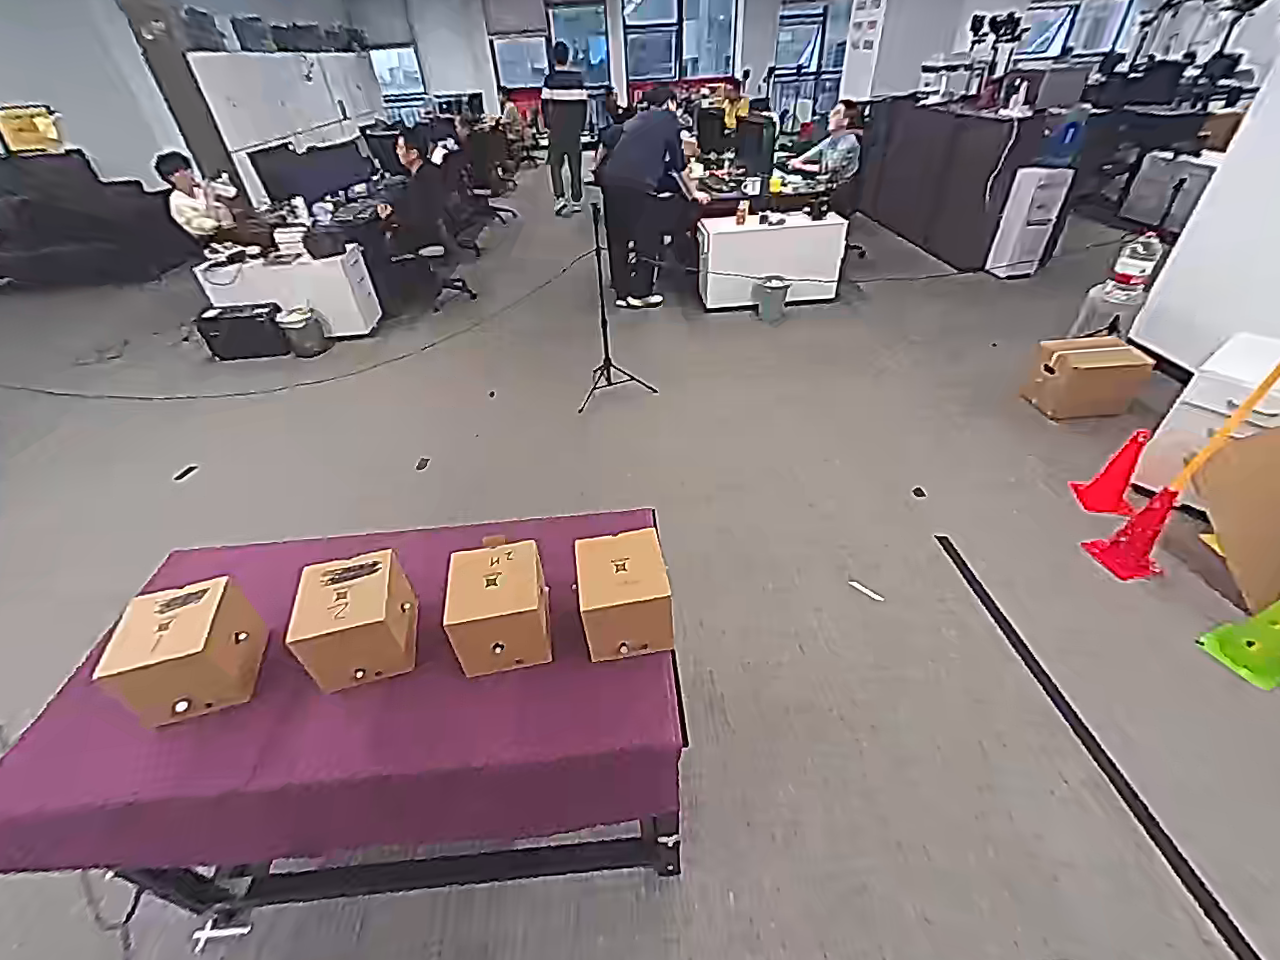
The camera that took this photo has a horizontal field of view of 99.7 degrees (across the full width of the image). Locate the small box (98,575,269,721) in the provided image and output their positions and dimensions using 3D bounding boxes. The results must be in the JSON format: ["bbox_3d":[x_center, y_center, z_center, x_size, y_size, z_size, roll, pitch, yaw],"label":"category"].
[{"bbox_3d":[-0.835,0.314,1.016,0.168,0.176,0.179,-13,40,-12],"label":"small box"}]

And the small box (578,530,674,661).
[{"bbox_3d":[-0.028,0.225,1.063,0.168,0.176,0.179,-8,38,-3],"label":"small box"}]

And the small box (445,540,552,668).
[{"bbox_3d":[-0.267,0.247,1.055,0.168,0.176,0.179,-8,38,-6],"label":"small box"}]
